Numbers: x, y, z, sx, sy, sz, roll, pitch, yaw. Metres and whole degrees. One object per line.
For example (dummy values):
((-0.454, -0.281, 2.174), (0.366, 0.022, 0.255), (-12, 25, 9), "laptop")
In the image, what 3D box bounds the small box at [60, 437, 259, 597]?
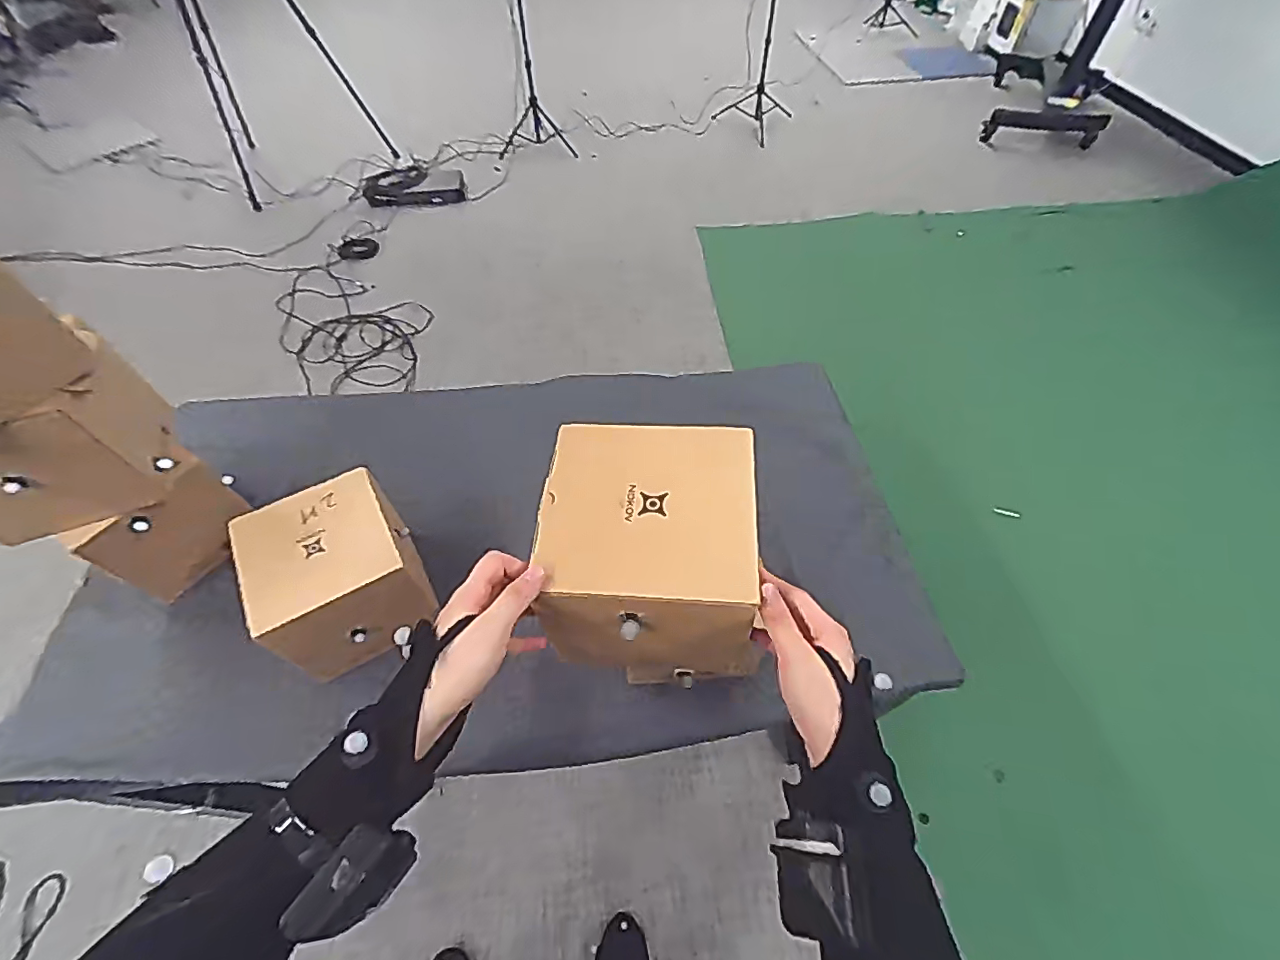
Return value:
((-0.692, 0.039, 0.772), (0.179, 0.176, 0.168), (29, 60, 19), "small box")

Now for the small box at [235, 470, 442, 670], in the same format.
((-0.382, 0.125, 0.706), (0.168, 0.176, 0.179), (-26, 58, -18), "small box")

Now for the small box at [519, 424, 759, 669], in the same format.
((0.010, 0.067, 0.496), (0.179, 0.176, 0.168), (1, 55, 7), "small box")

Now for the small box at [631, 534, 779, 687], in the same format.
((0.063, 0.146, 0.688), (0.168, 0.176, 0.179), (-5, 54, -2), "small box")

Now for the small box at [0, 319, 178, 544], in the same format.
((-0.692, -0.053, 0.635), (0.179, 0.176, 0.168), (-21, 58, -13), "small box")
